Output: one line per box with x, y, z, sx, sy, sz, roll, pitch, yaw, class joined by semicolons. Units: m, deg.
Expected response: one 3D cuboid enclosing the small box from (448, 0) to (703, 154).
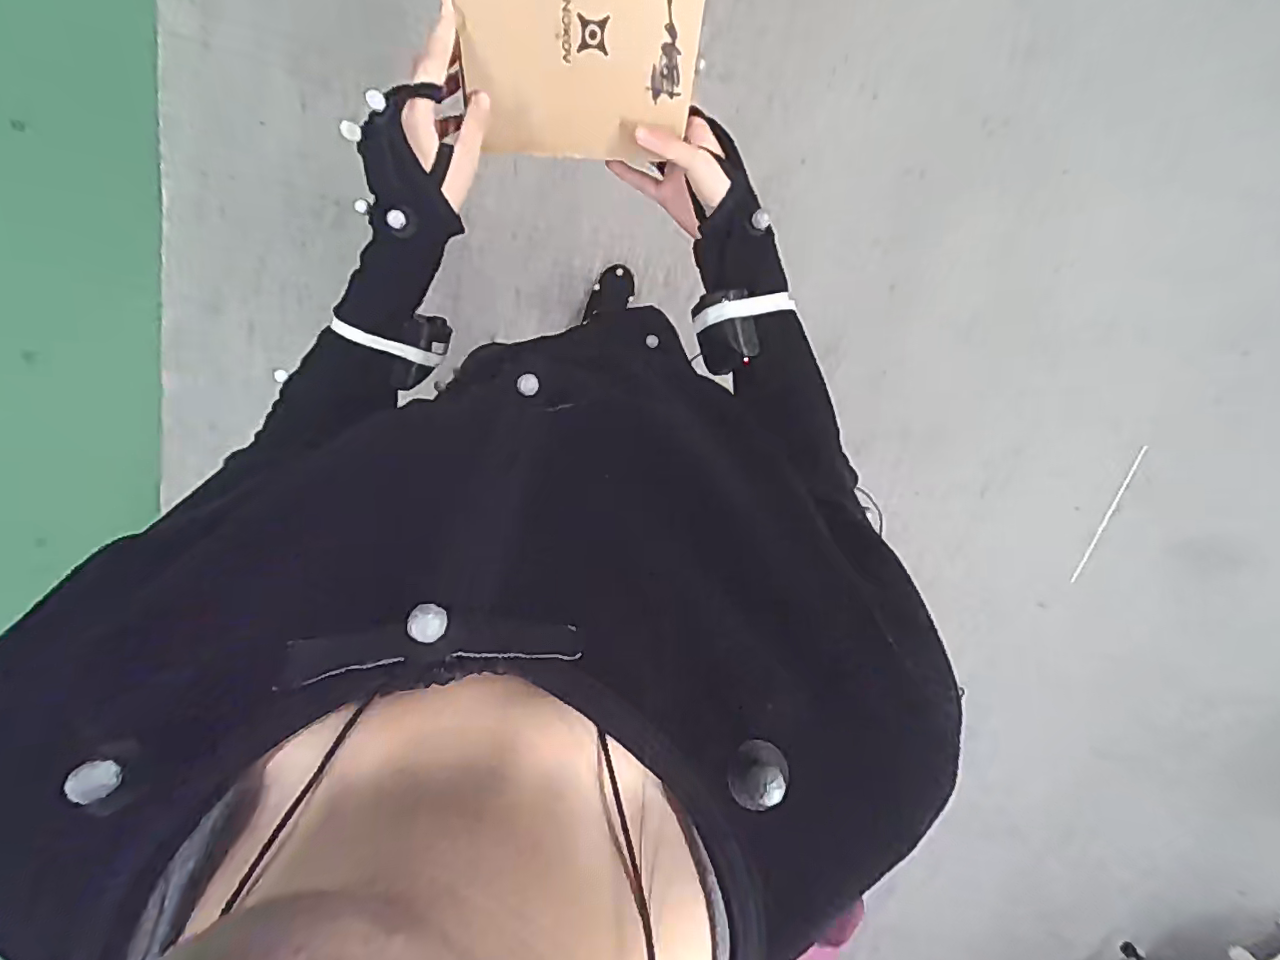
-0.051;-0.384;0.424;0.179;0.176;0.168;-1;143;-9;small box
